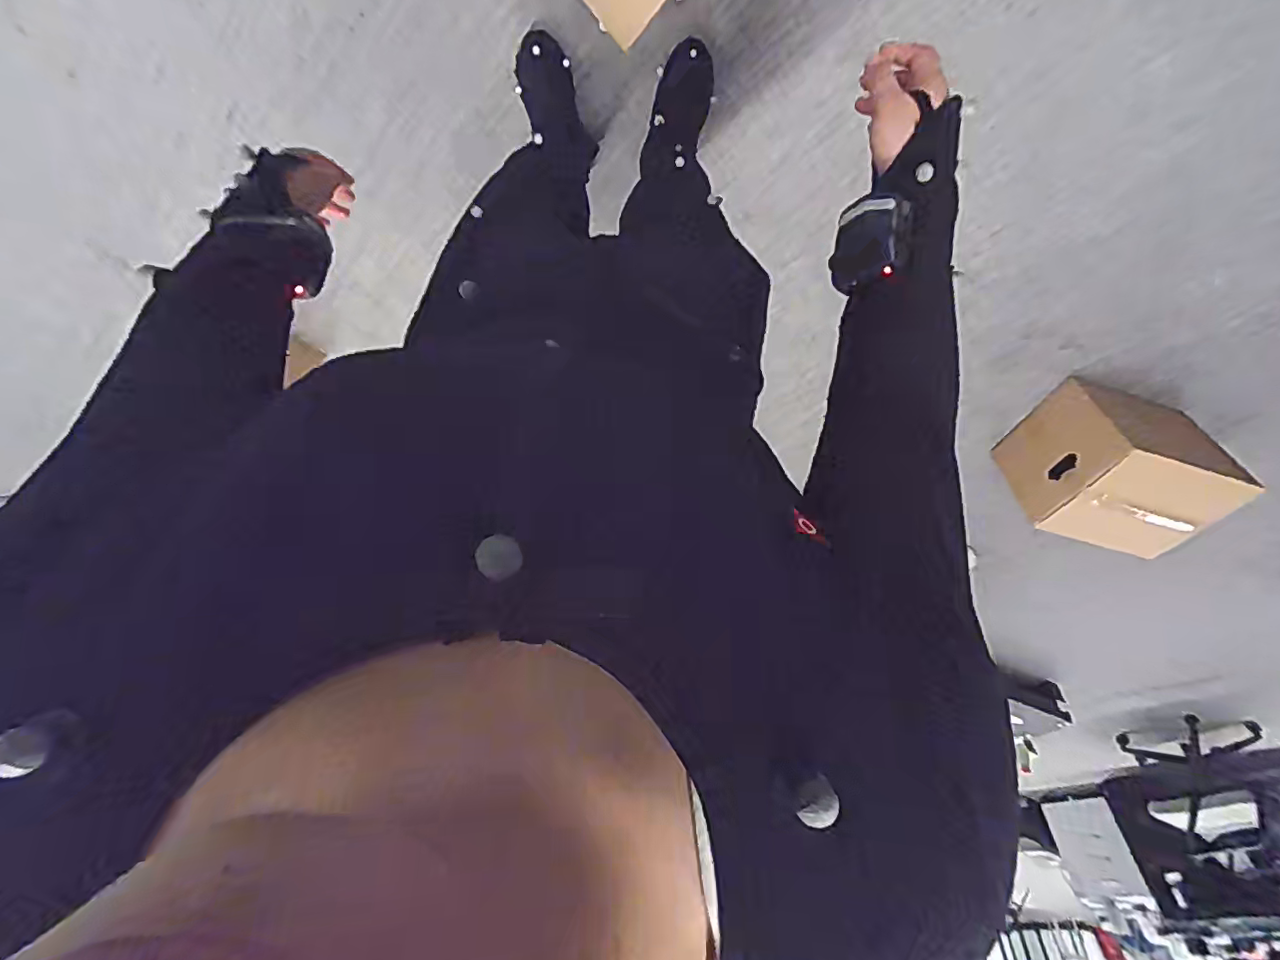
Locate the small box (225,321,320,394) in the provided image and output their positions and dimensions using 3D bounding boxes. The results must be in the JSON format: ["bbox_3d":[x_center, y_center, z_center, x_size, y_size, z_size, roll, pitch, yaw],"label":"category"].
[{"bbox_3d":[-1.039,-0.312,1.525,0.168,0.176,0.179,33,129,-25],"label":"small box"}]
